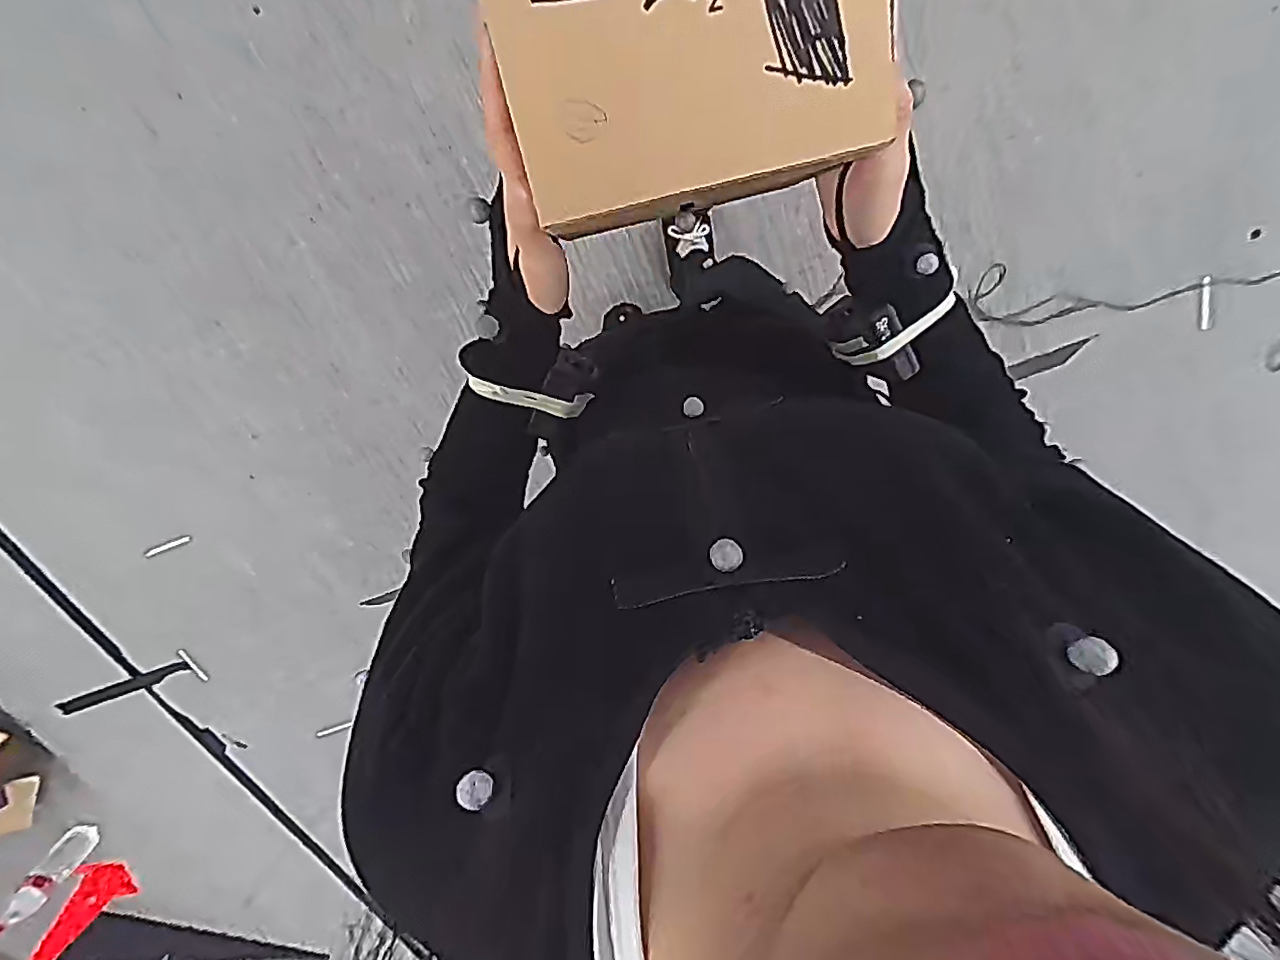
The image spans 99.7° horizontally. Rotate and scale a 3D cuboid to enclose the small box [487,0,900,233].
[{"bbox_3d":[0.017,-0.244,0.299,0.179,0.176,0.168,-13,112,3],"label":"small box"}]
